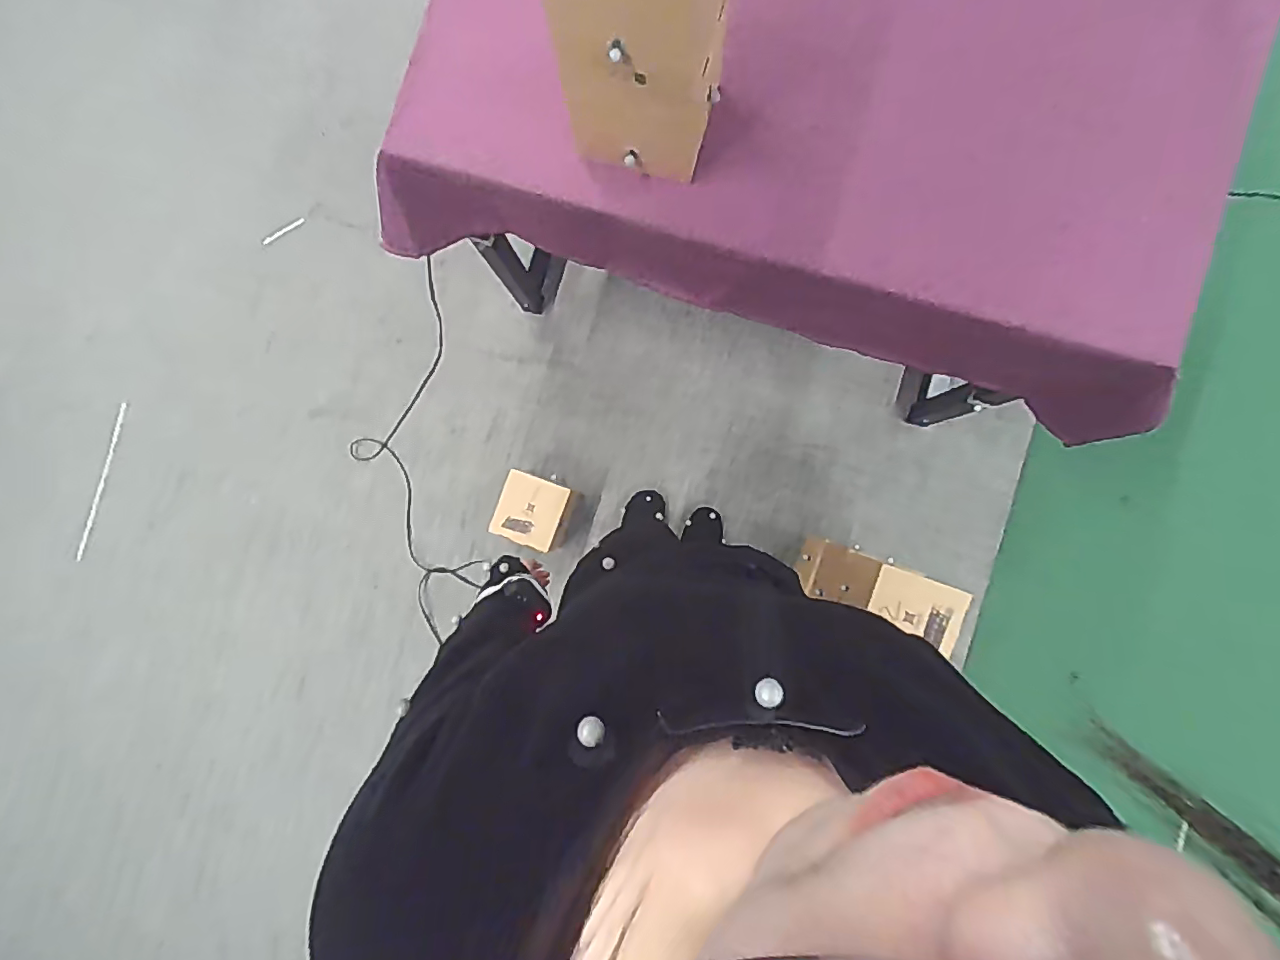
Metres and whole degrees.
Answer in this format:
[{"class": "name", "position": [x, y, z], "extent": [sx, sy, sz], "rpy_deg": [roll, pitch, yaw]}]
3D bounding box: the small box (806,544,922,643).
[{"class": "small box", "position": [0.507, 0.252, 1.252], "extent": [0.179, 0.176, 0.168], "rpy_deg": [18, 90, 2]}]

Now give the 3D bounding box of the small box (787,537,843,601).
[{"class": "small box", "position": [0.505, 0.254, 1.415], "extent": [0.179, 0.176, 0.168], "rpy_deg": [21, 89, 2]}]

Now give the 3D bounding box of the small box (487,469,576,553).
[{"class": "small box", "position": [-0.282, 0.082, 1.451], "extent": [0.168, 0.176, 0.179], "rpy_deg": [20, 88, 2]}]

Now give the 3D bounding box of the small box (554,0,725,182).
[{"class": "small box", "position": [0.002, -0.540, 0.732], "extent": [0.179, 0.176, 0.168], "rpy_deg": [15, 88, 2]}]
